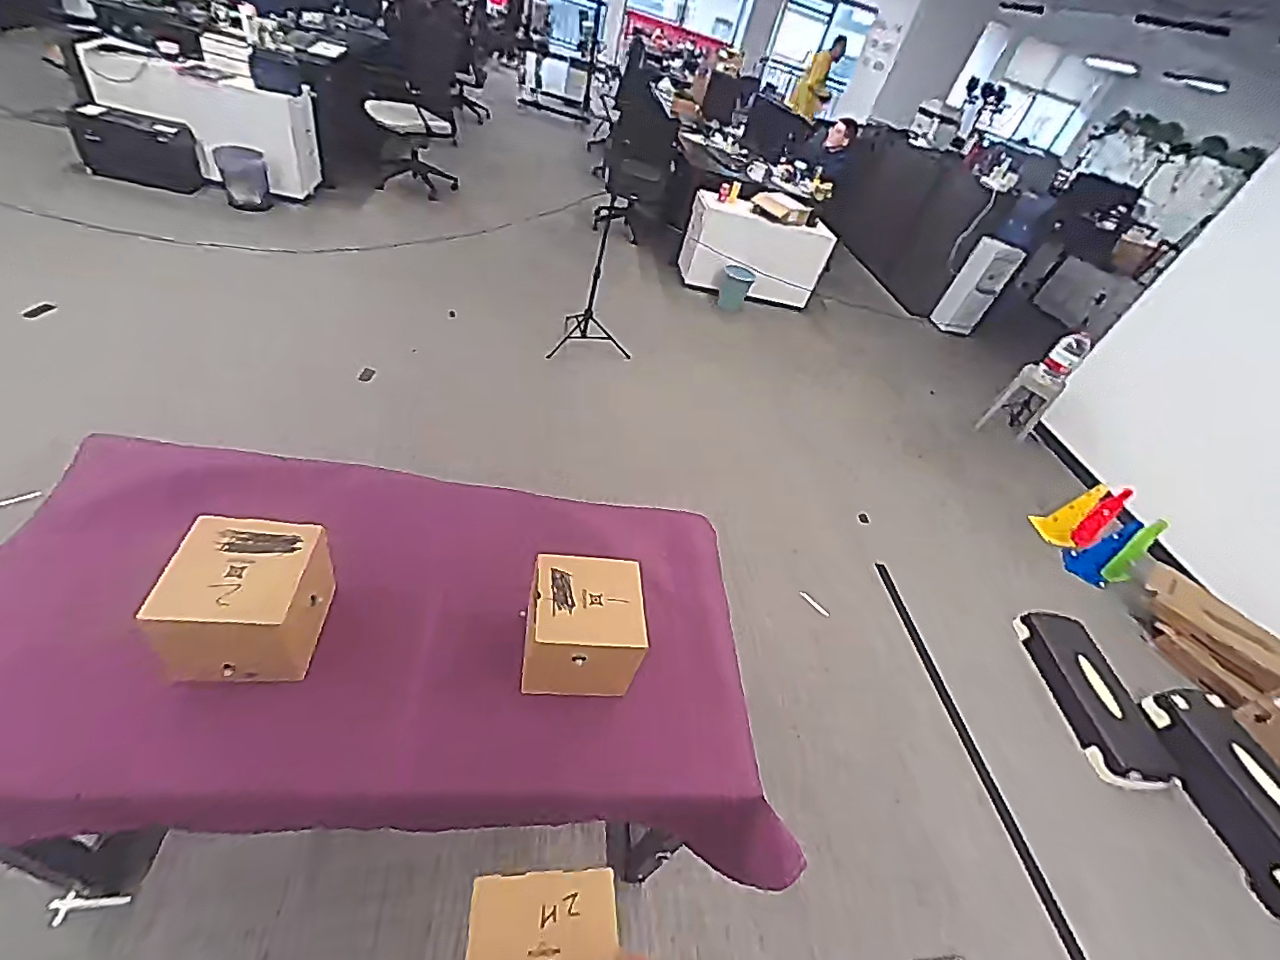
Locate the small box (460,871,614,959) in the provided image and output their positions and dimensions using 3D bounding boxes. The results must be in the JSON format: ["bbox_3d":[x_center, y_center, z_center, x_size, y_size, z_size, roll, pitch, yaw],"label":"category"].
[{"bbox_3d":[-0.121,0.584,0.615,0.168,0.176,0.179,5,33,-12],"label":"small box"}]

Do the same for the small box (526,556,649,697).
[{"bbox_3d":[-0.093,0.249,0.911,0.179,0.176,0.168,8,43,-13],"label":"small box"}]
